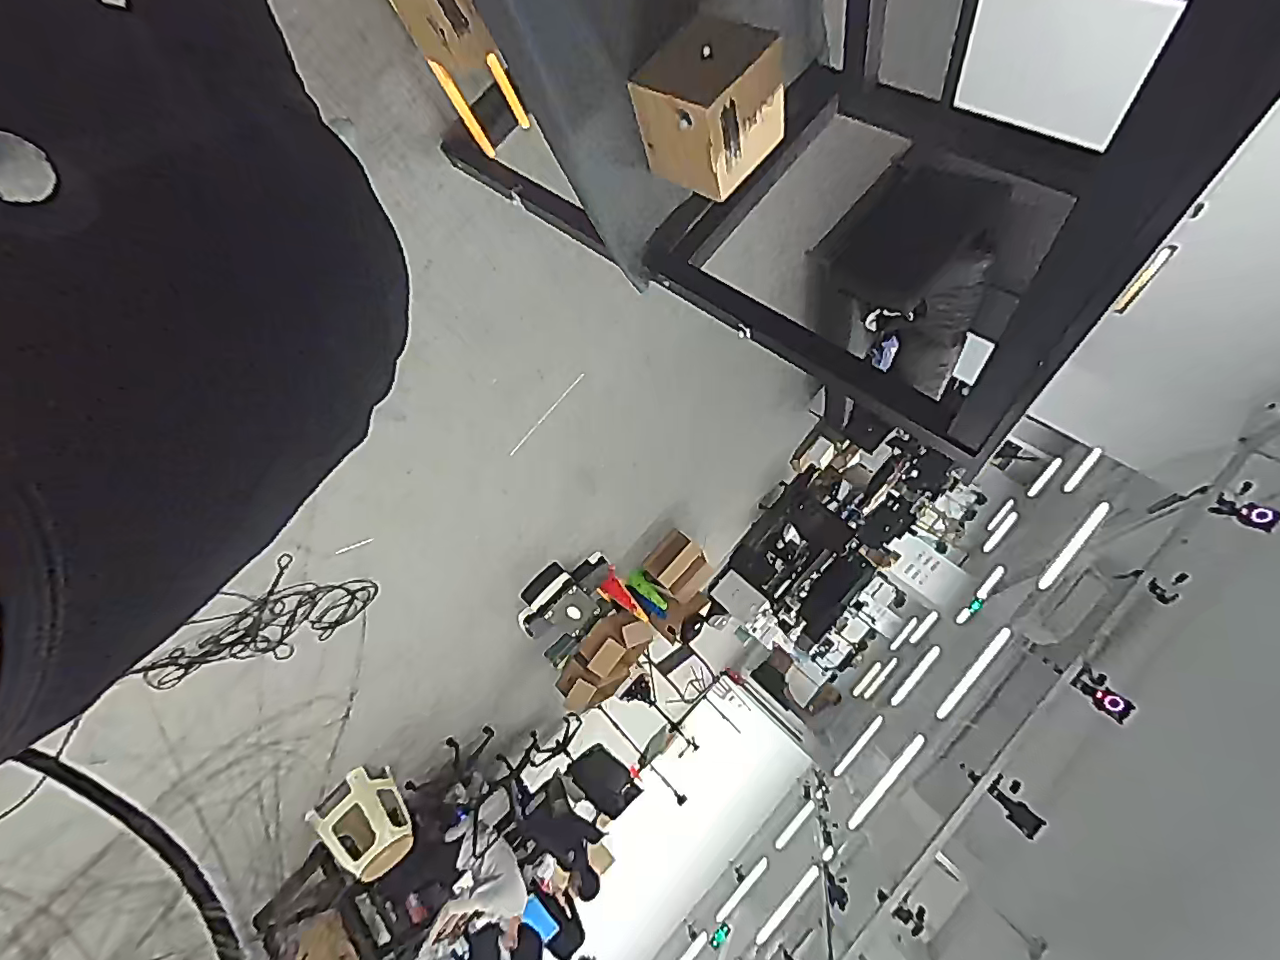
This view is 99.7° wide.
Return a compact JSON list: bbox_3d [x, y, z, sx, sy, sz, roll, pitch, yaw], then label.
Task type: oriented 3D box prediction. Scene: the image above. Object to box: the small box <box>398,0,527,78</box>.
[{"bbox_3d":[-0.366,-0.953,1.073,0.179,0.176,0.168,-47,154,-7],"label":"small box"}]
